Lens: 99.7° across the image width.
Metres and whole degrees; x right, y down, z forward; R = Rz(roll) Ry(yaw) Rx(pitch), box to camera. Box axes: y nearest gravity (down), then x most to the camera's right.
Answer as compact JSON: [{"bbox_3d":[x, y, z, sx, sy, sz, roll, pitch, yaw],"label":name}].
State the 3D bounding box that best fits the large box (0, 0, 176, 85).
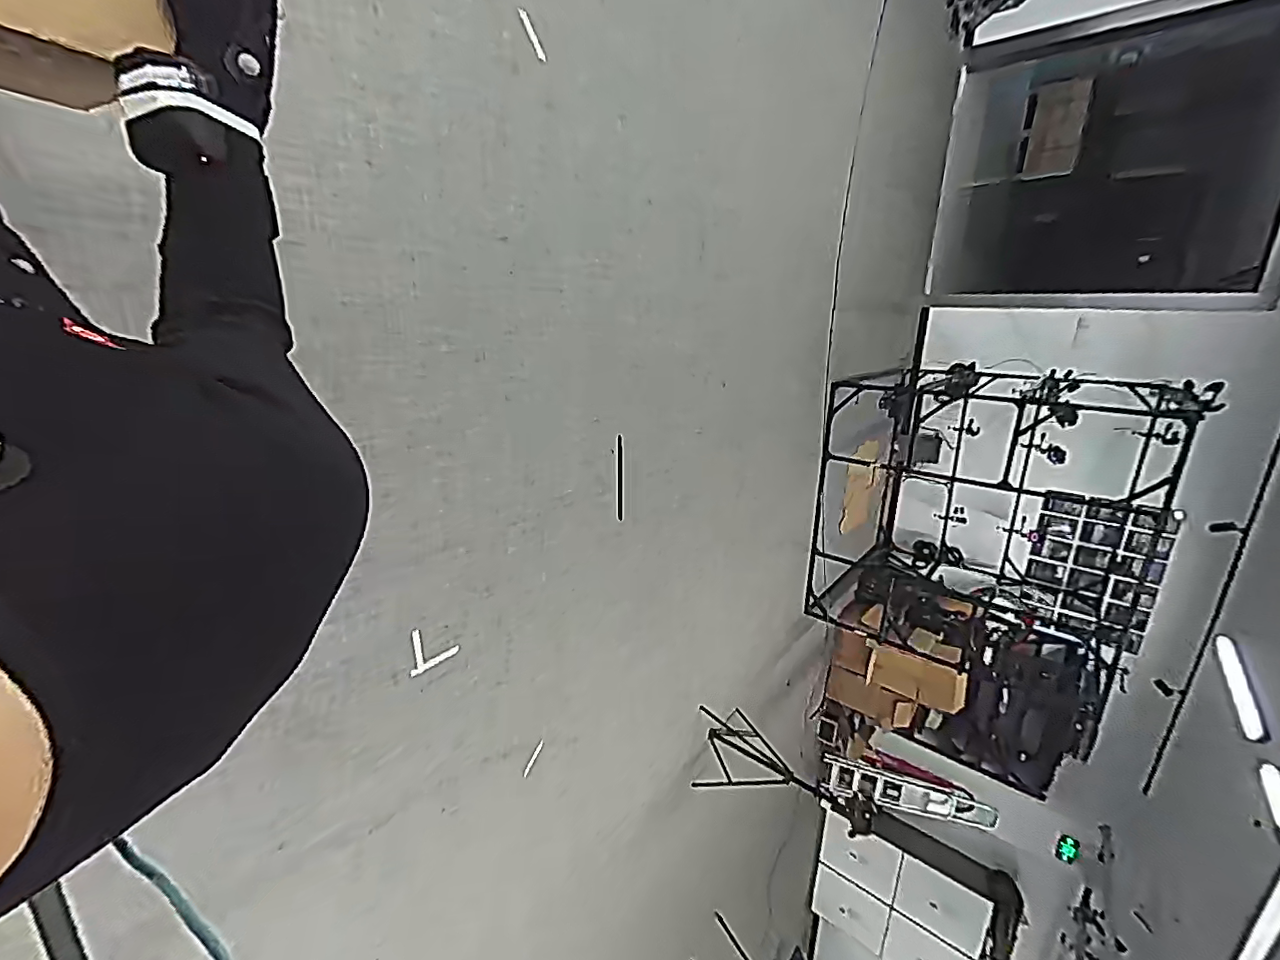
[{"bbox_3d":[-0.561,-0.468,0.279,0.408,0.320,0.320,-16,122,-52],"label":"large box"}]
